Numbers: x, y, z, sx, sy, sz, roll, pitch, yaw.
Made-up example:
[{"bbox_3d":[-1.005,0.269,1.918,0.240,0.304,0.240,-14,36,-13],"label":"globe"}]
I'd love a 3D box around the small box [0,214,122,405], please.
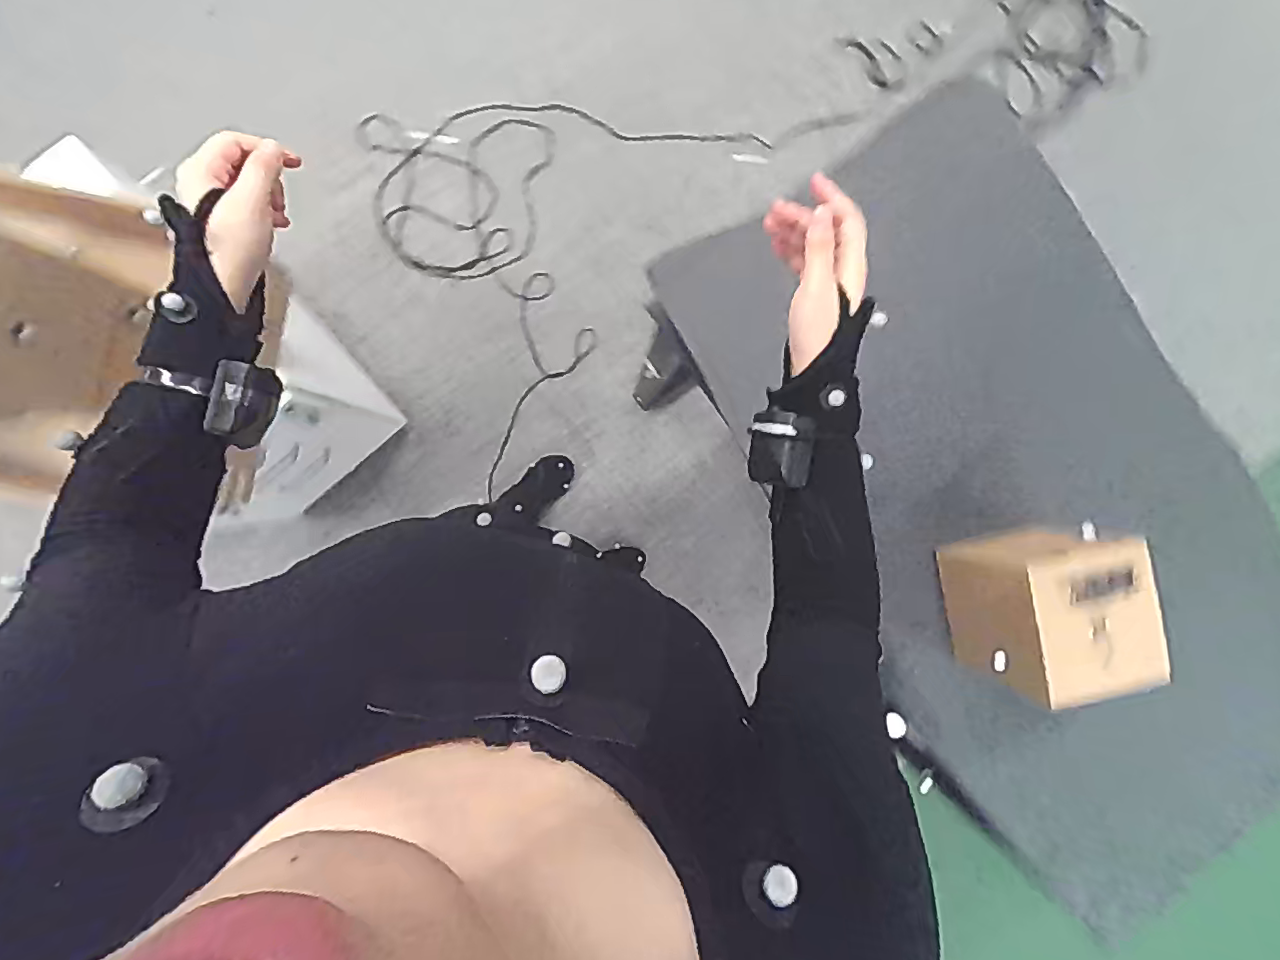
[{"bbox_3d":[-0.712,-0.189,0.569,0.168,0.176,0.179,13,90,-2],"label":"small box"}]
